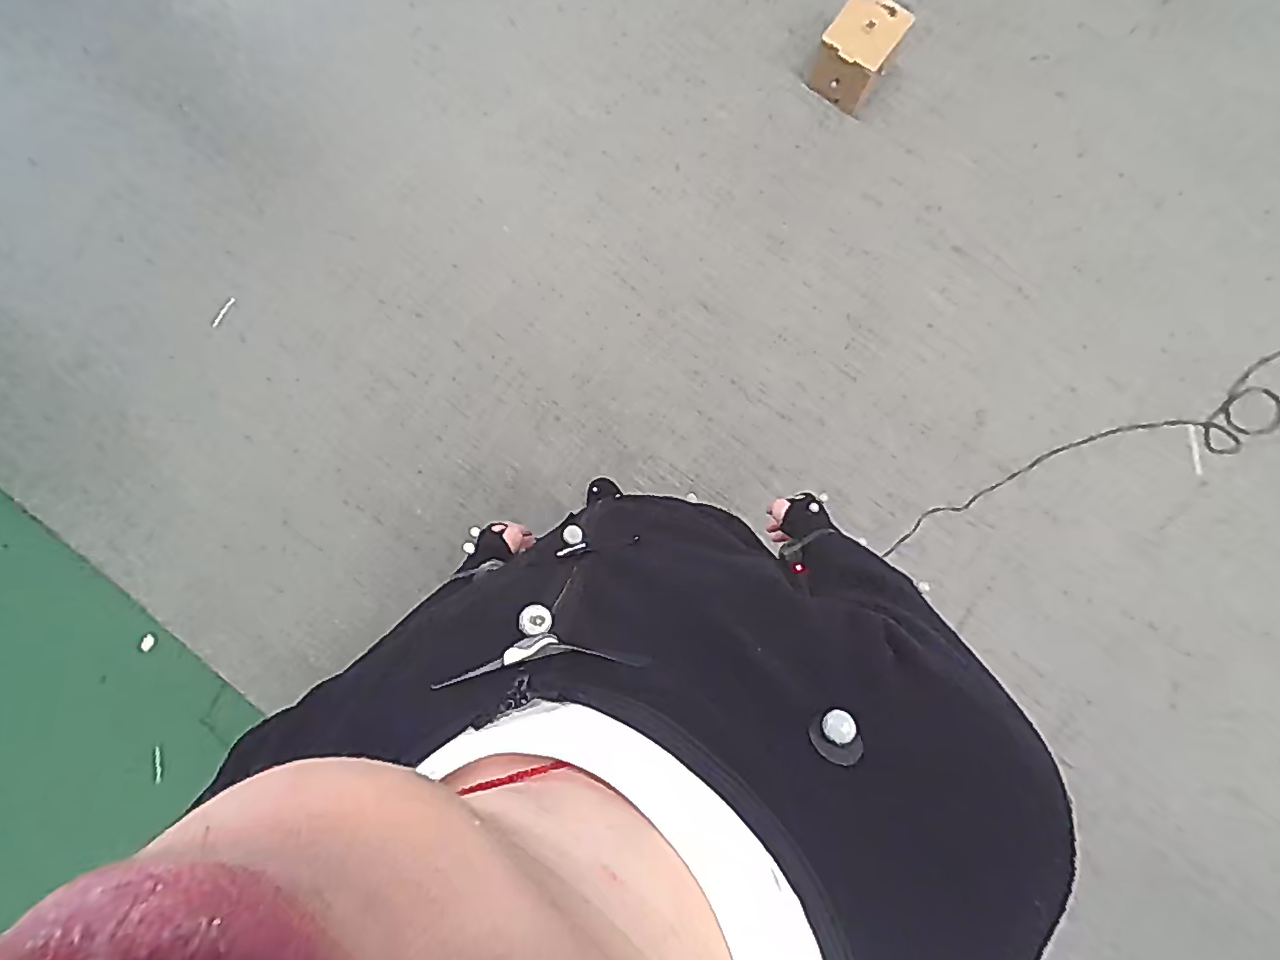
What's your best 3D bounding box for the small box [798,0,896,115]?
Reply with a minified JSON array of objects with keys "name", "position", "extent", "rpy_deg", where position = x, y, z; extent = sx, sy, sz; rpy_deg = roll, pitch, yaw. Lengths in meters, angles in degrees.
[{"name":"small box","position":[0.548,-1.150,1.466],"extent":[0.168,0.176,0.179],"rpy_deg":[36,91,4]}]
